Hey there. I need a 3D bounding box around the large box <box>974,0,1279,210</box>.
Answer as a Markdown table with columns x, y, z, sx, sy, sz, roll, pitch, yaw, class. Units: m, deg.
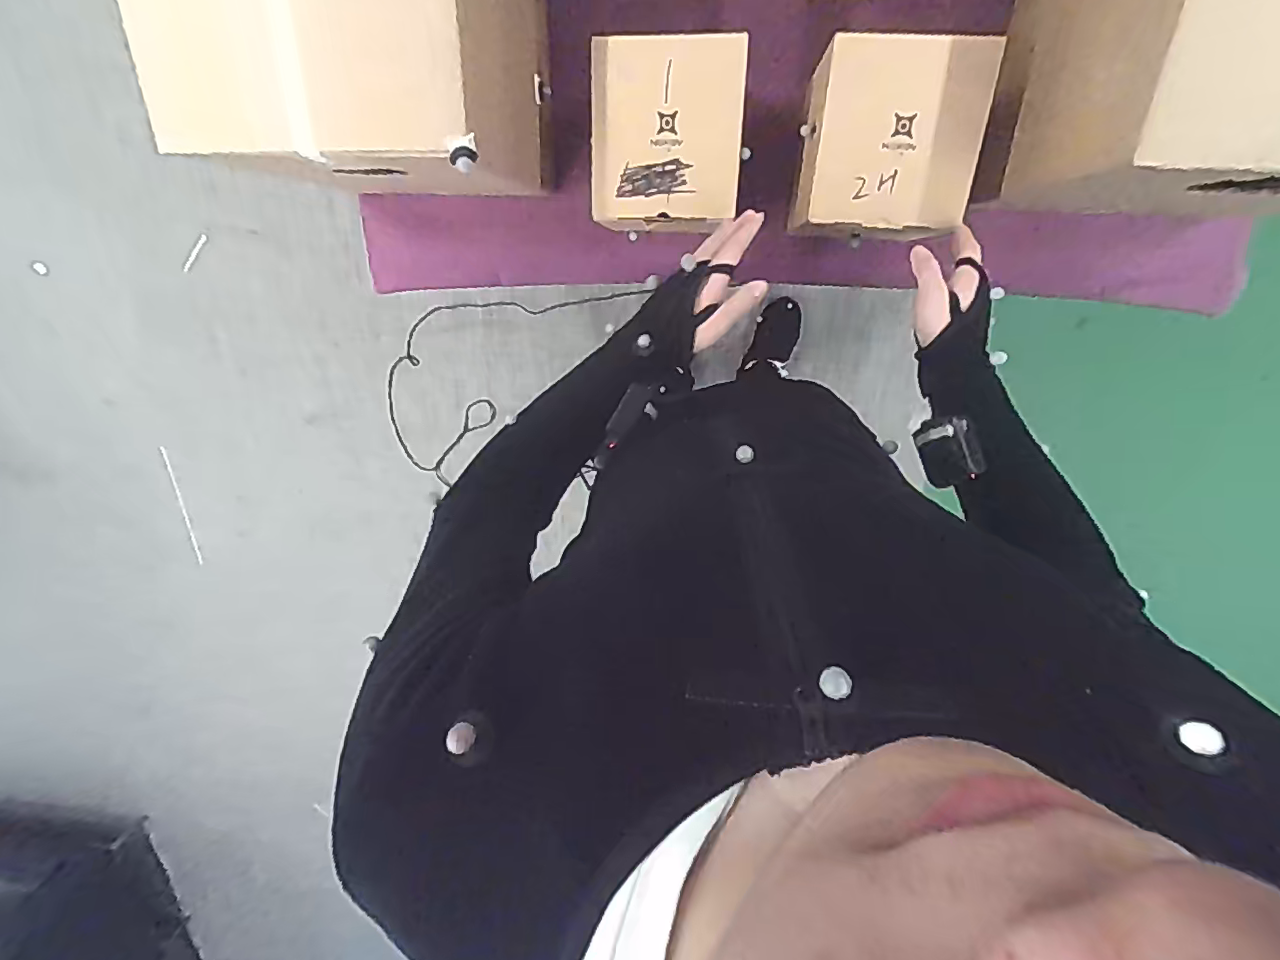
| x | y | z | sx | sy | sz | roll | pitch | yaw | class |
| --- | --- | --- | --- | --- | --- | --- | --- | --- | --- |
| 0.575 | -0.485 | 0.493 | 0.320 | 0.320 | 0.408 | 4 | 113 | 6 | large box |
